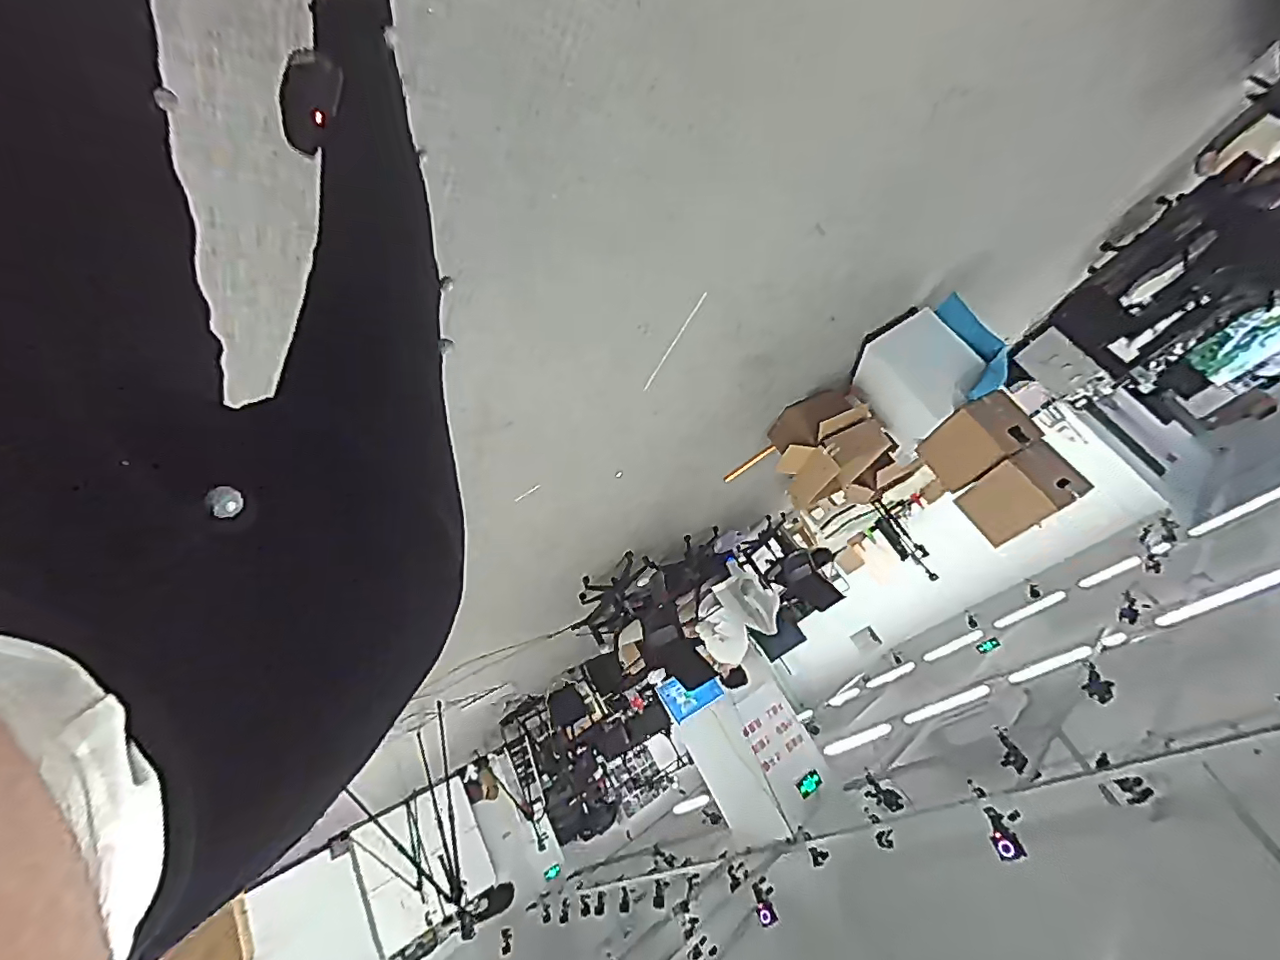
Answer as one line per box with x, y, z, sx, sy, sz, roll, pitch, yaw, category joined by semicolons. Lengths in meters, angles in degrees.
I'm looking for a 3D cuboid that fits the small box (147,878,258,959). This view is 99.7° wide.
-1.070;1.120;1.324;0.179;0.176;0.168;-17;156;-34;small box
